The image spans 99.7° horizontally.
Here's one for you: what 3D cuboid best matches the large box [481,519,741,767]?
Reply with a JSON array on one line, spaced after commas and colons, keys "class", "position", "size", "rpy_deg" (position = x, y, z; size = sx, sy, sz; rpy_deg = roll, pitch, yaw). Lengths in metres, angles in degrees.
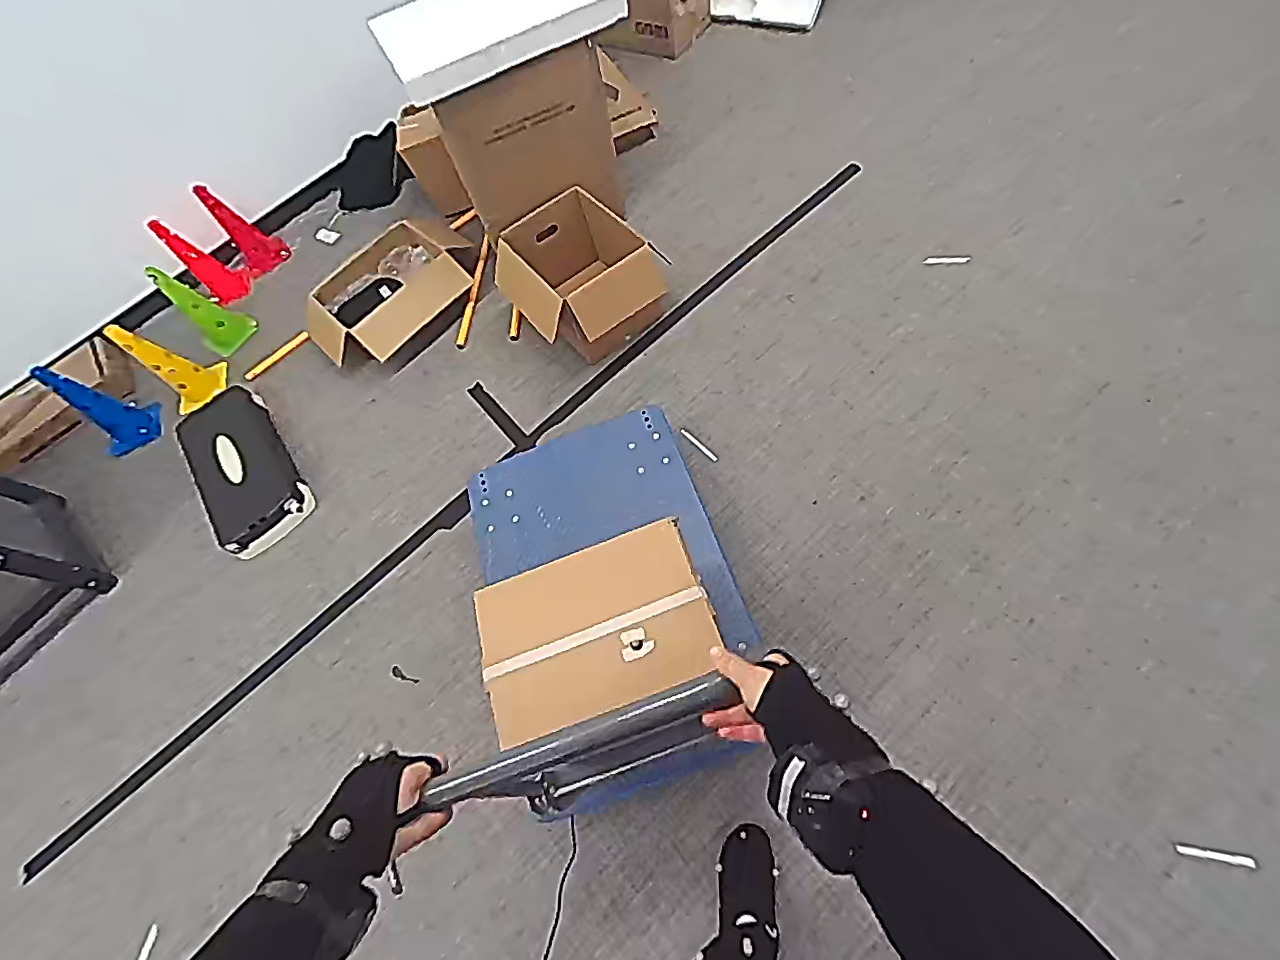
[{"class": "large box", "position": [-0.045, 0.338, 1.080], "size": [0.408, 0.320, 0.320], "rpy_deg": [-22, 62, 0]}]
